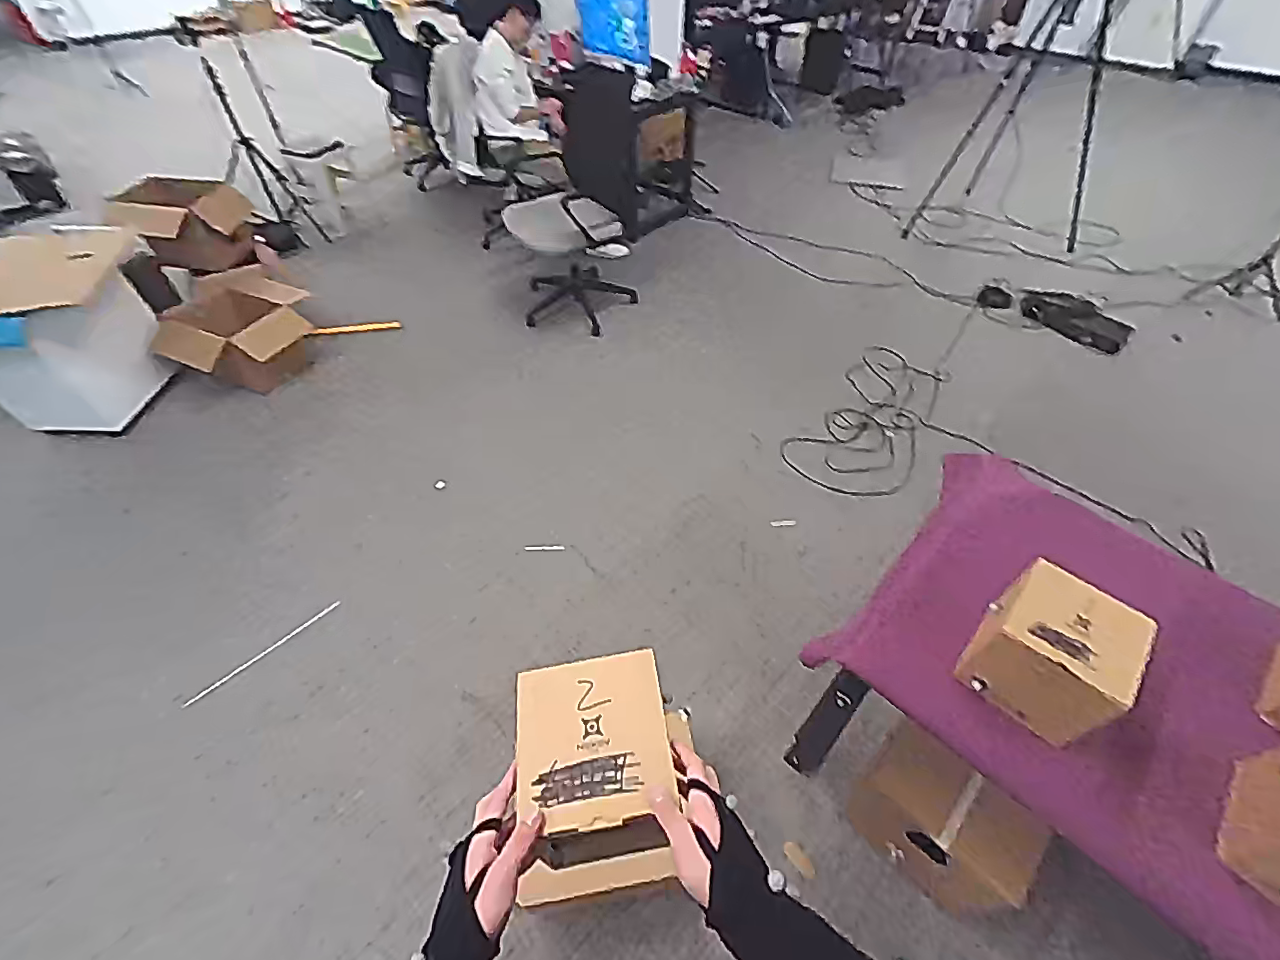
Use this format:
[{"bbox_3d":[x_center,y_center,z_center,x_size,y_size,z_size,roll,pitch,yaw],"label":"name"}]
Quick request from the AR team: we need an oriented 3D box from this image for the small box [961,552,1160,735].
[{"bbox_3d":[0.633,0.254,0.835,0.168,0.176,0.179,36,56,27],"label":"small box"}]

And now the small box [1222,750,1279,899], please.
[{"bbox_3d":[0.891,0.446,0.667,0.179,0.176,0.168,-36,57,-27],"label":"small box"}]

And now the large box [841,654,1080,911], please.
[{"bbox_3d":[0.753,0.722,1.306,0.320,0.320,0.408,37,58,27],"label":"large box"}]

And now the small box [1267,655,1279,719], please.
[{"bbox_3d":[1.095,0.307,0.788,0.179,0.176,0.168,-36,58,-26],"label":"small box"}]
